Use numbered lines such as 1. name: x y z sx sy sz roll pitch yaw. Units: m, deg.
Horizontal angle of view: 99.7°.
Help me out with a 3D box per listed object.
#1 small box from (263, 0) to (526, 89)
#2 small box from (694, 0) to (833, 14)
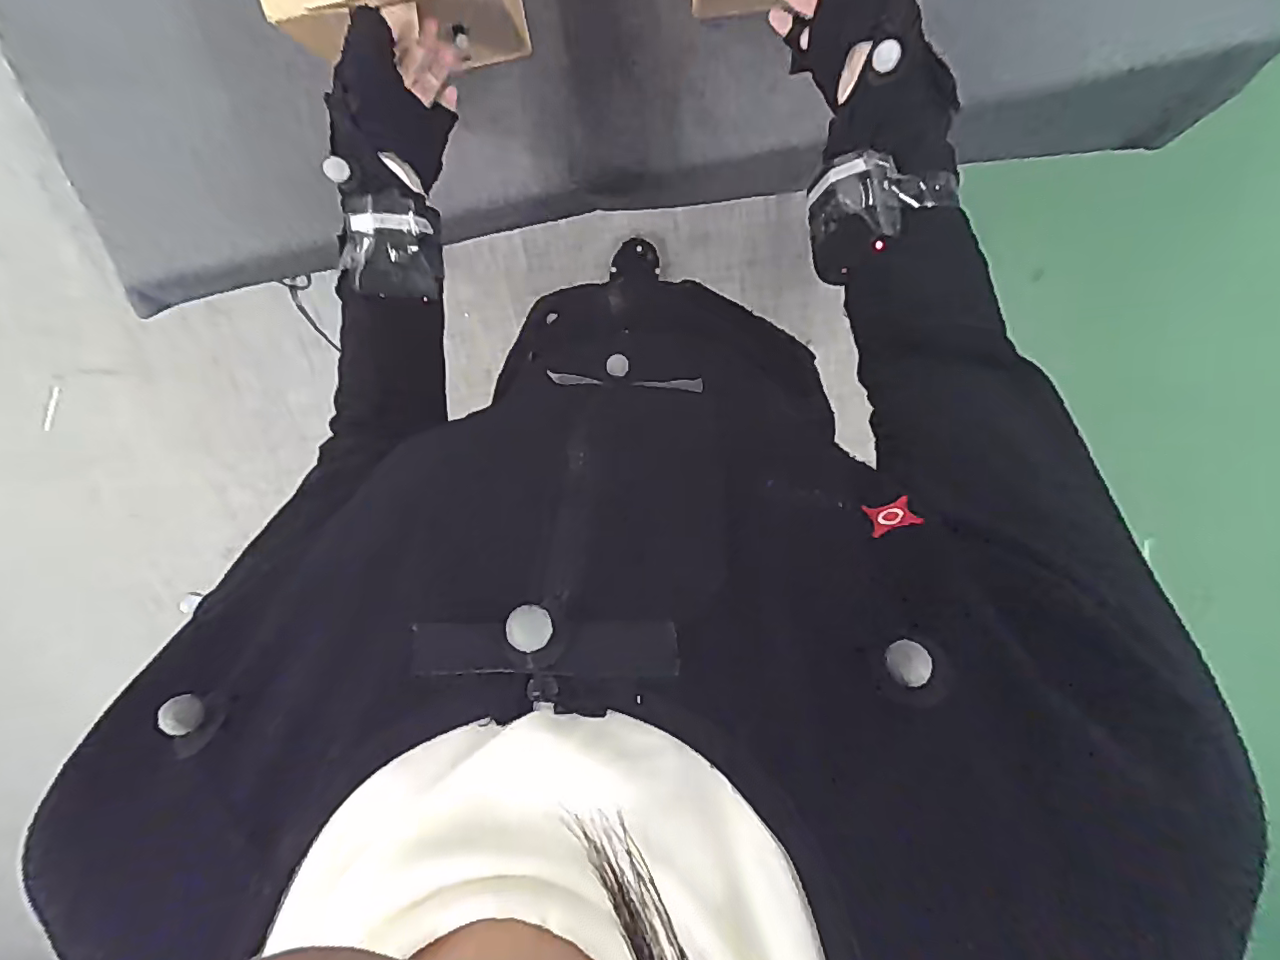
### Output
1. small box: -0.203 -0.448 0.437 0.168 0.176 0.179 -10 111 4
2. small box: 0.117 -0.491 0.408 0.168 0.176 0.179 -6 113 4
